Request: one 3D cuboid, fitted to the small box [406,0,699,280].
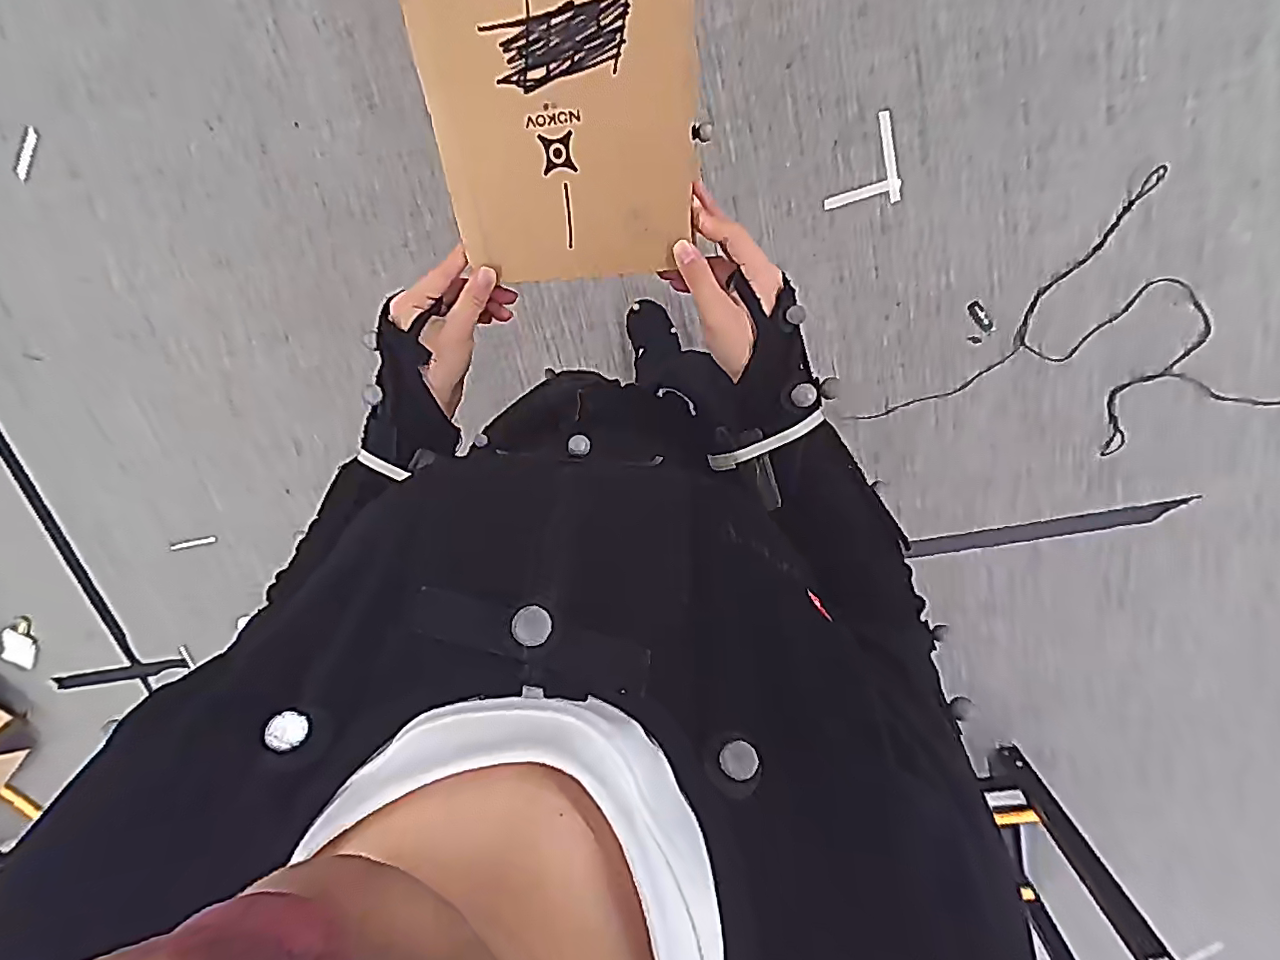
[{"bbox_3d":[-0.041,-0.265,0.410,0.168,0.176,0.179,-1,123,9],"label":"small box"}]
